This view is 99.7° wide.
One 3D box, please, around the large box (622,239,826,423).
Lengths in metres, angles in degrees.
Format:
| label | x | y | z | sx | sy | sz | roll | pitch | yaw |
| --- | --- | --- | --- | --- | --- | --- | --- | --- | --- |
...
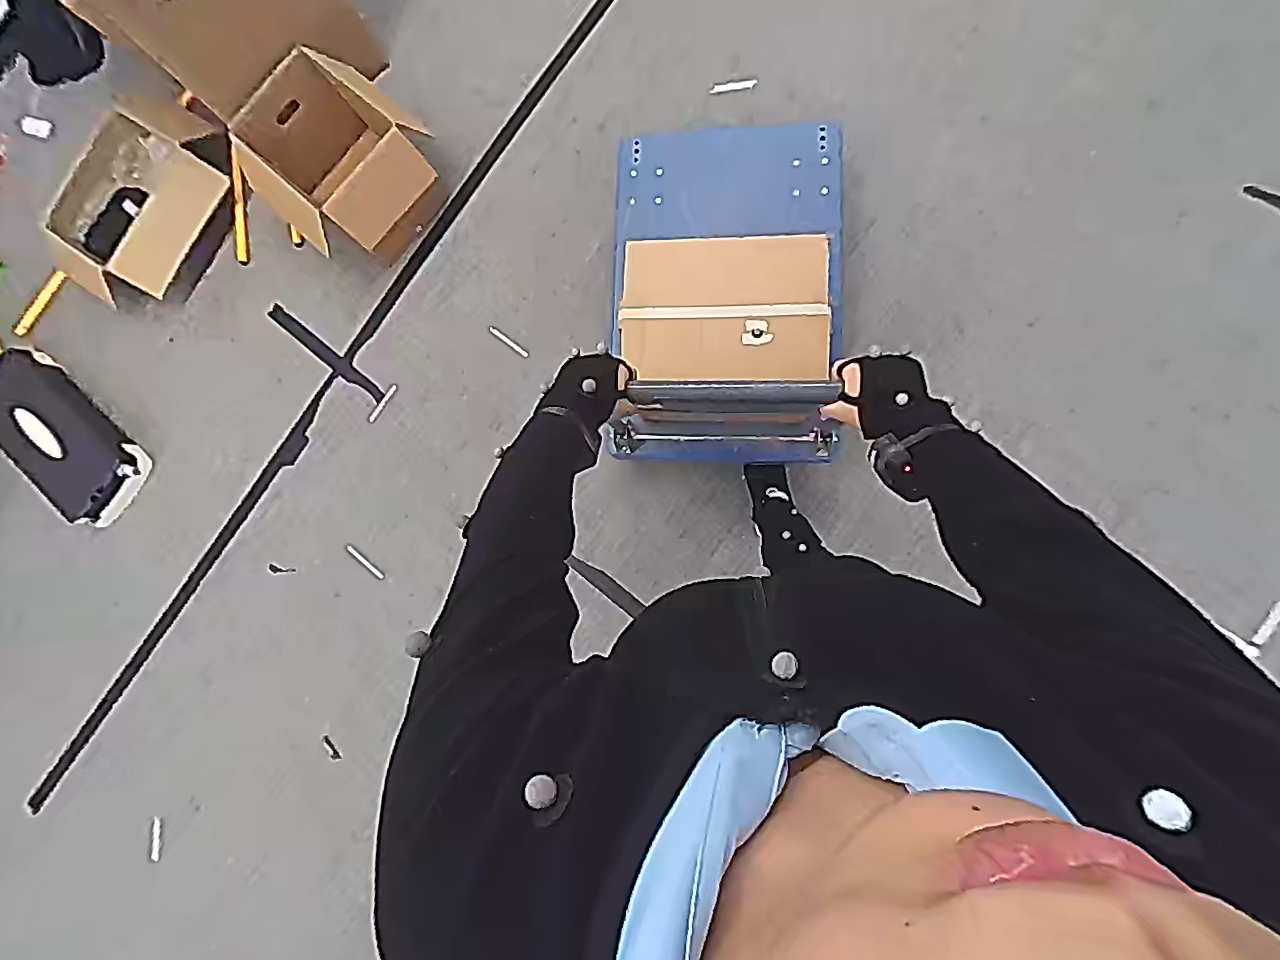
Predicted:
| label | x | y | z | sx | sy | sz | roll | pitch | yaw |
| --- | --- | --- | --- | --- | --- | --- | --- | --- | --- |
| large box | 0.180 | -0.309 | 1.216 | 0.408 | 0.320 | 0.320 | 2 | 86 | 7 |
